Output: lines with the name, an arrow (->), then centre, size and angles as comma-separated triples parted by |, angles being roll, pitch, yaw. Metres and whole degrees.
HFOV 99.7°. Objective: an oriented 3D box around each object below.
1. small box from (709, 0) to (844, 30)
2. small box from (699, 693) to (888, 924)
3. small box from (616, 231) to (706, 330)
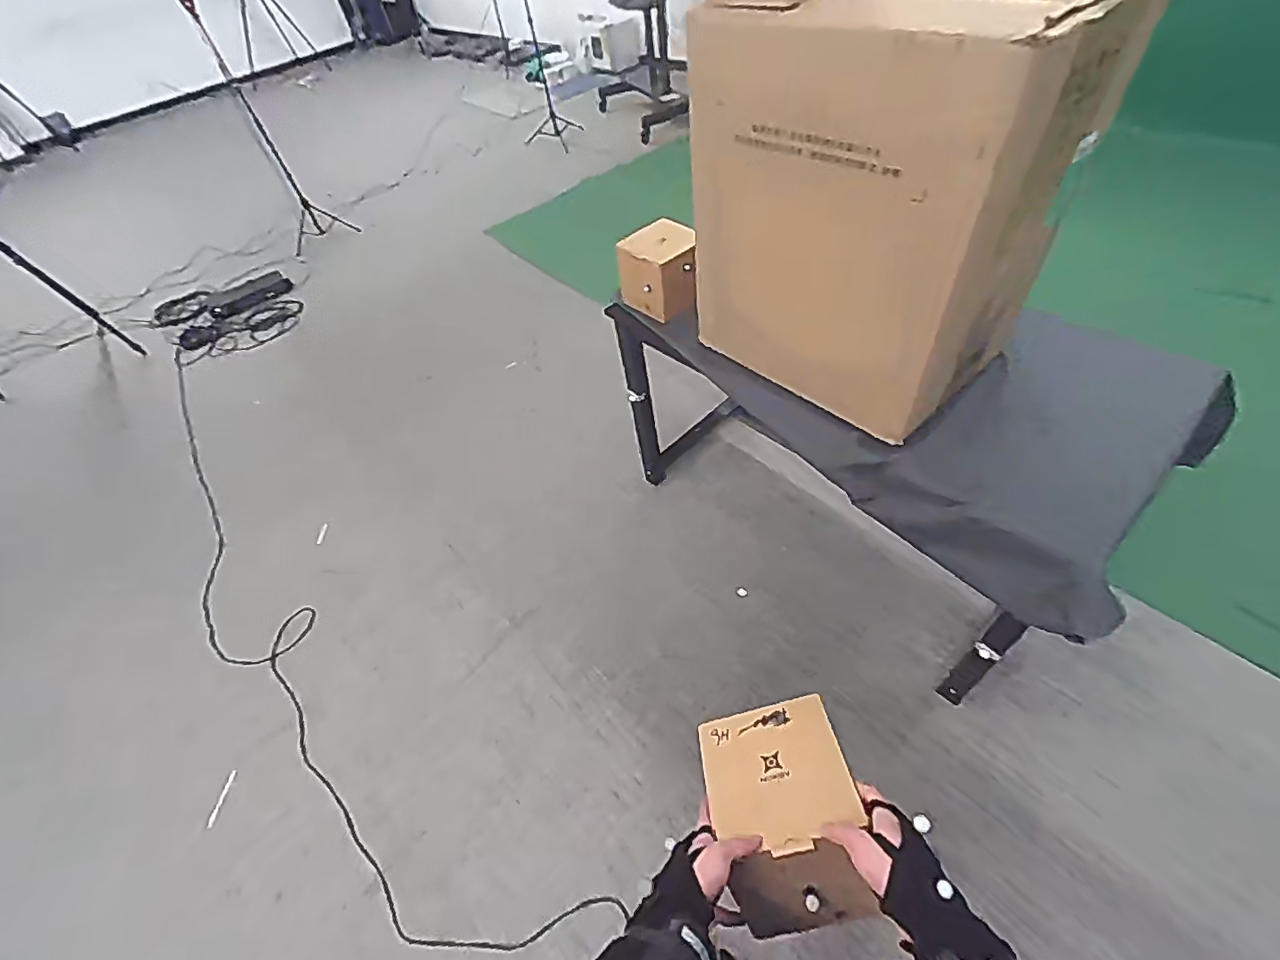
small box -> 0.206, -0.792, 0.793 | 0.179, 0.176, 0.168 | -37, 52, -20
small box -> 0.184, 0.406, 0.667 | 0.168, 0.176, 0.179 | -18, 25, 7
small box -> 0.063, -0.525, 1.434 | 0.179, 0.176, 0.168 | -38, 56, -24
